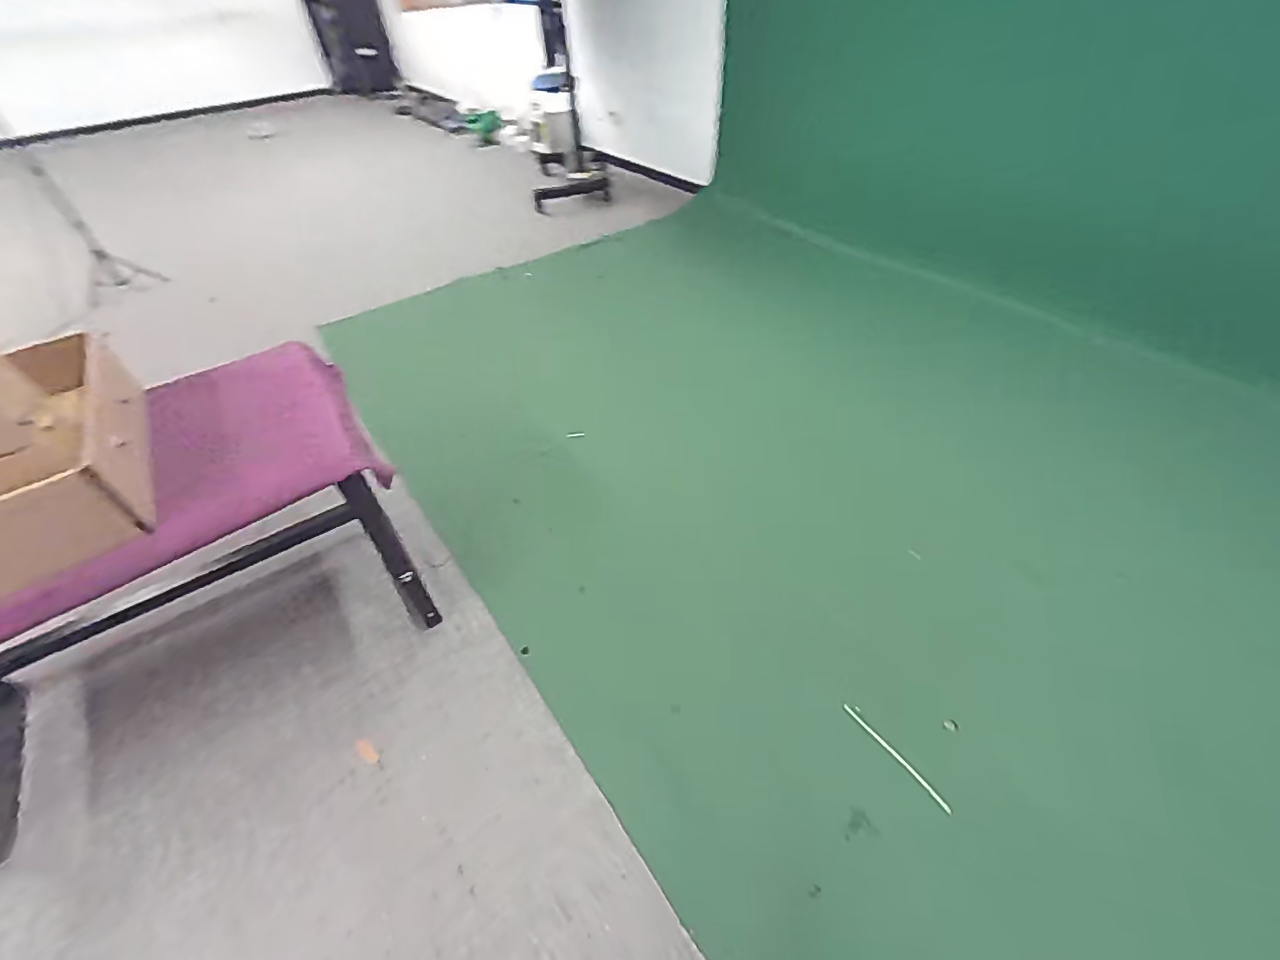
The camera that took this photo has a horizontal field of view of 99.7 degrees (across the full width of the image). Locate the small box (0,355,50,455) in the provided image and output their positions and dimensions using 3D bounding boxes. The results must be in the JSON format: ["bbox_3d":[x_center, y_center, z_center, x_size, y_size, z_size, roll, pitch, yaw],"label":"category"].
[{"bbox_3d":[-1.151,-0.130,0.893,0.179,0.176,0.168,-28,49,-19],"label":"small box"}]
